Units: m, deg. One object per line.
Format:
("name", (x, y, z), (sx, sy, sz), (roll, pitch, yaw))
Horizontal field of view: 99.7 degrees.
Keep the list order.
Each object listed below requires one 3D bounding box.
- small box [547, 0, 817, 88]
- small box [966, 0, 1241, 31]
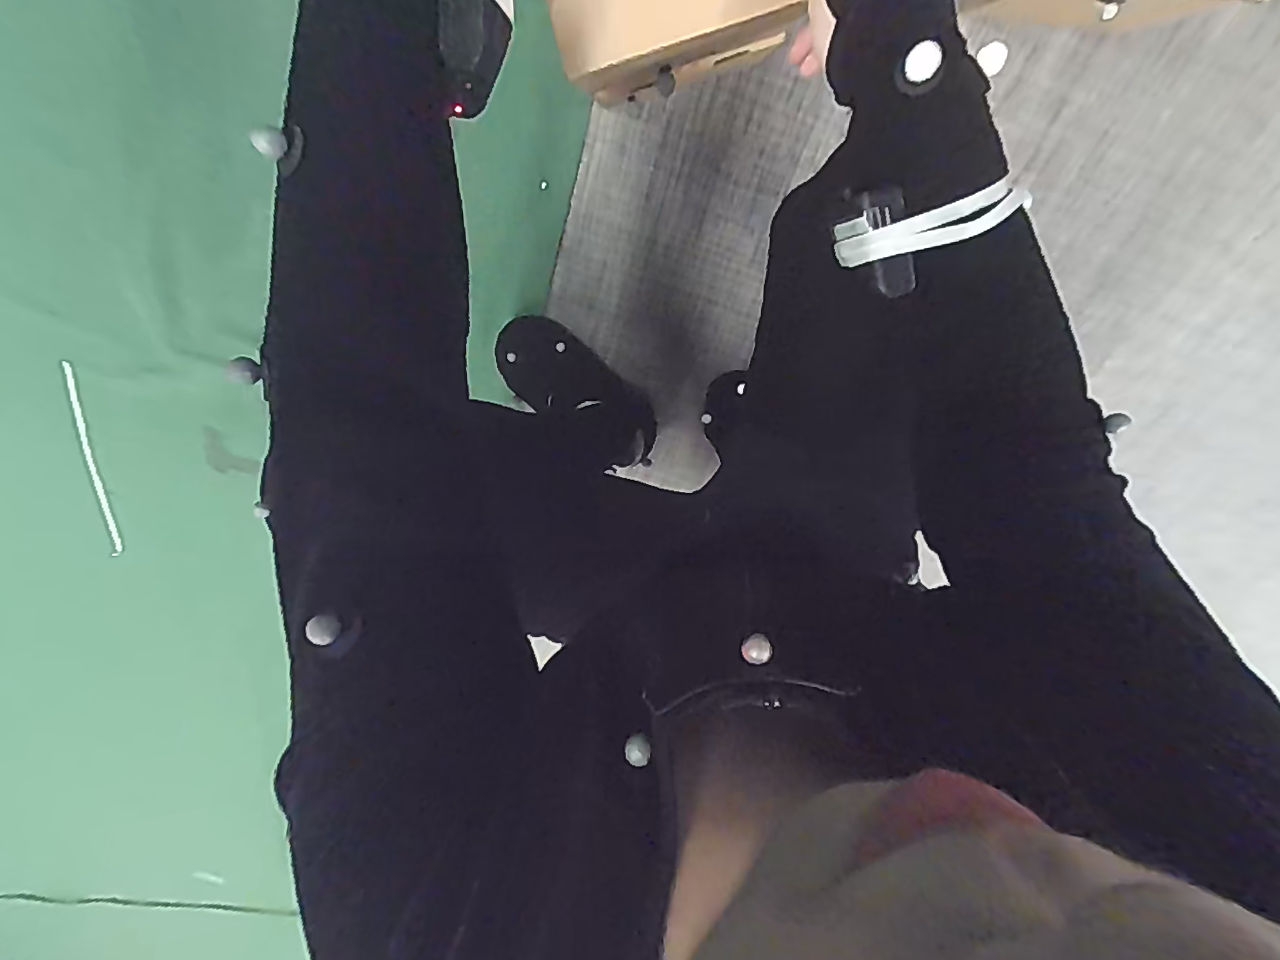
("small box", (0.012, -0.381, 0.347), (0.168, 0.176, 0.179), (-12, 122, 8))
("small box", (0.422, -0.504, 0.457), (0.179, 0.176, 0.168), (4, 123, -3))
